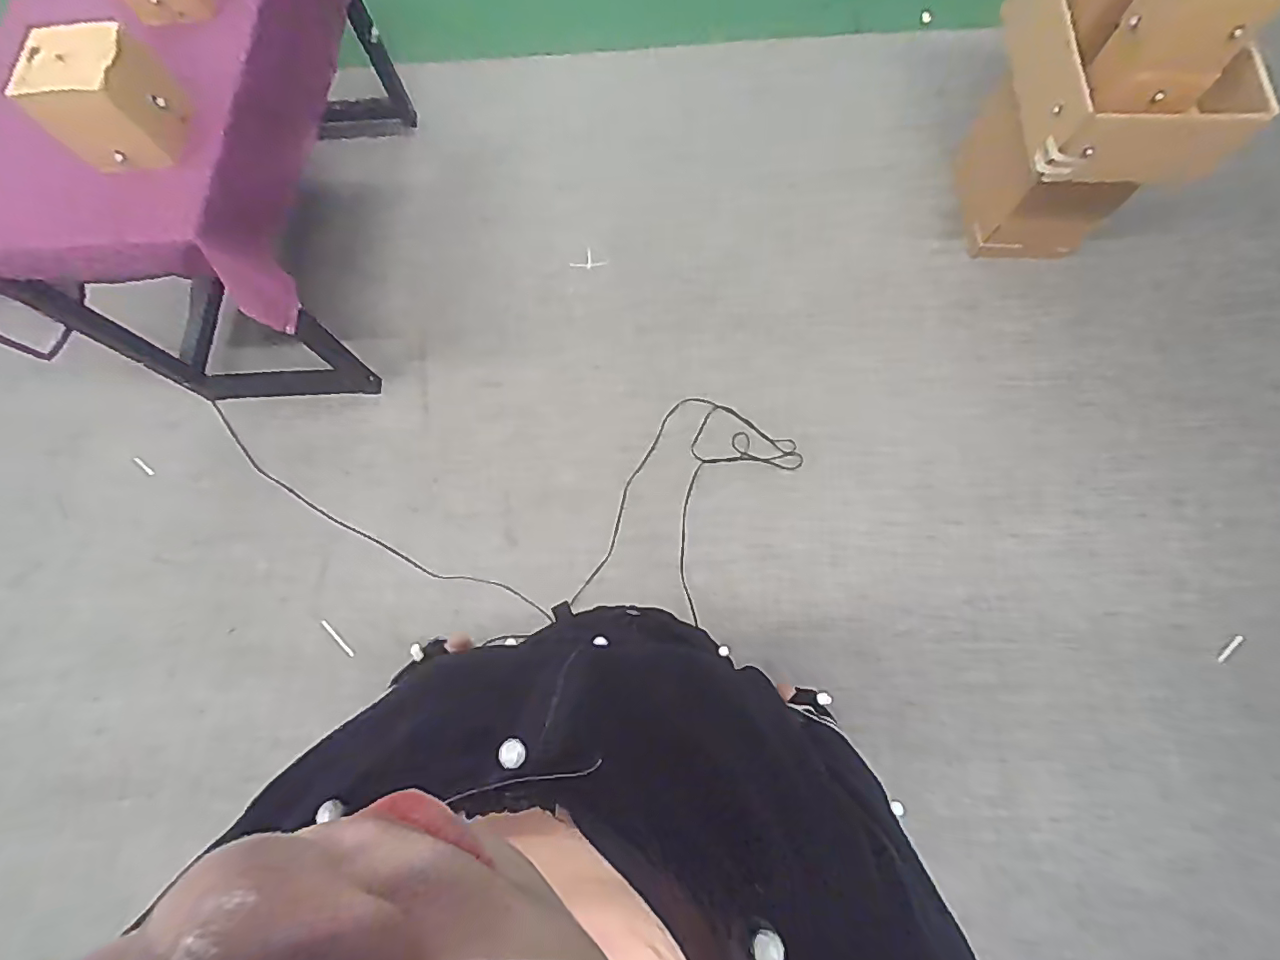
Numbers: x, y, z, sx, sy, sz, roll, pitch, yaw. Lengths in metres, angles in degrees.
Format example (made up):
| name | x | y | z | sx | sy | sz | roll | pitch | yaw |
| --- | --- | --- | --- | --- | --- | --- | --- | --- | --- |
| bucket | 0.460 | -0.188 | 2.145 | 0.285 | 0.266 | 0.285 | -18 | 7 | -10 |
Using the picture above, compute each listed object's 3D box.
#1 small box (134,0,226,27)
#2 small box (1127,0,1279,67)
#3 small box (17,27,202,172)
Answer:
| name | x | y | z | sx | sy | sz | roll | pitch | yaw |
| --- | --- | --- | --- | --- | --- | --- | --- | --- | --- |
| small box | -1.030 | -1.133 | 1.170 | 0.168 | 0.176 | 0.179 | 0 | 73 | 4 |
| small box | 1.151 | -0.975 | 1.094 | 0.179 | 0.176 | 0.168 | 4 | 73 | 6 |
| small box | -1.010 | -0.729 | 1.049 | 0.179 | 0.176 | 0.168 | -1 | 73 | 3 |
